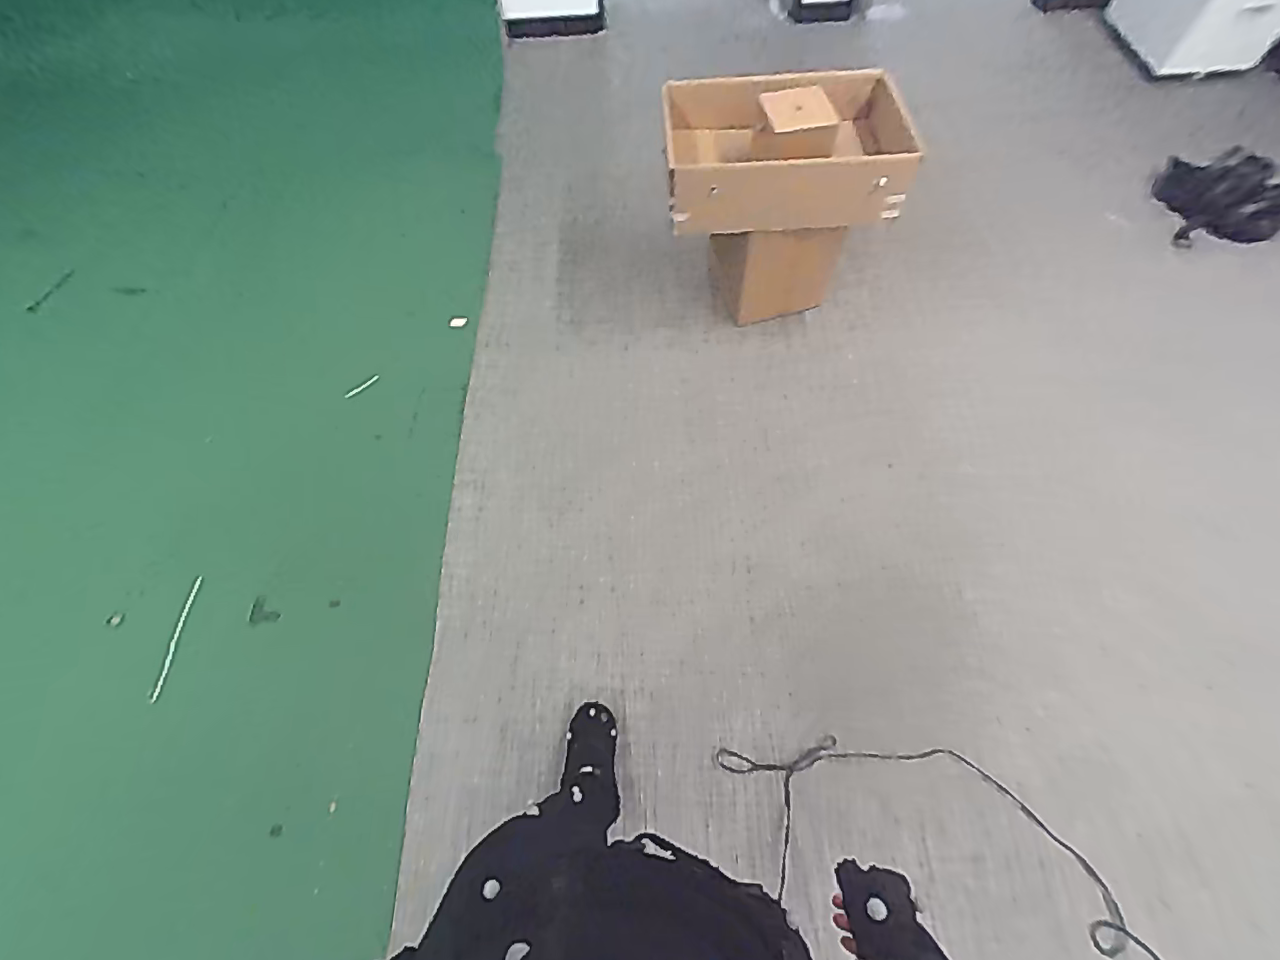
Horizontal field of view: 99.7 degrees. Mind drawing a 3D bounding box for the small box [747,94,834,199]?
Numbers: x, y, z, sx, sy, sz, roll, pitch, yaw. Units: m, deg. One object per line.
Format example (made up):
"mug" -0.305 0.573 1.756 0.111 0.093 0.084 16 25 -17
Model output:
"small box" 0.390 -0.885 1.442 0.168 0.176 0.179 -9 63 -1
